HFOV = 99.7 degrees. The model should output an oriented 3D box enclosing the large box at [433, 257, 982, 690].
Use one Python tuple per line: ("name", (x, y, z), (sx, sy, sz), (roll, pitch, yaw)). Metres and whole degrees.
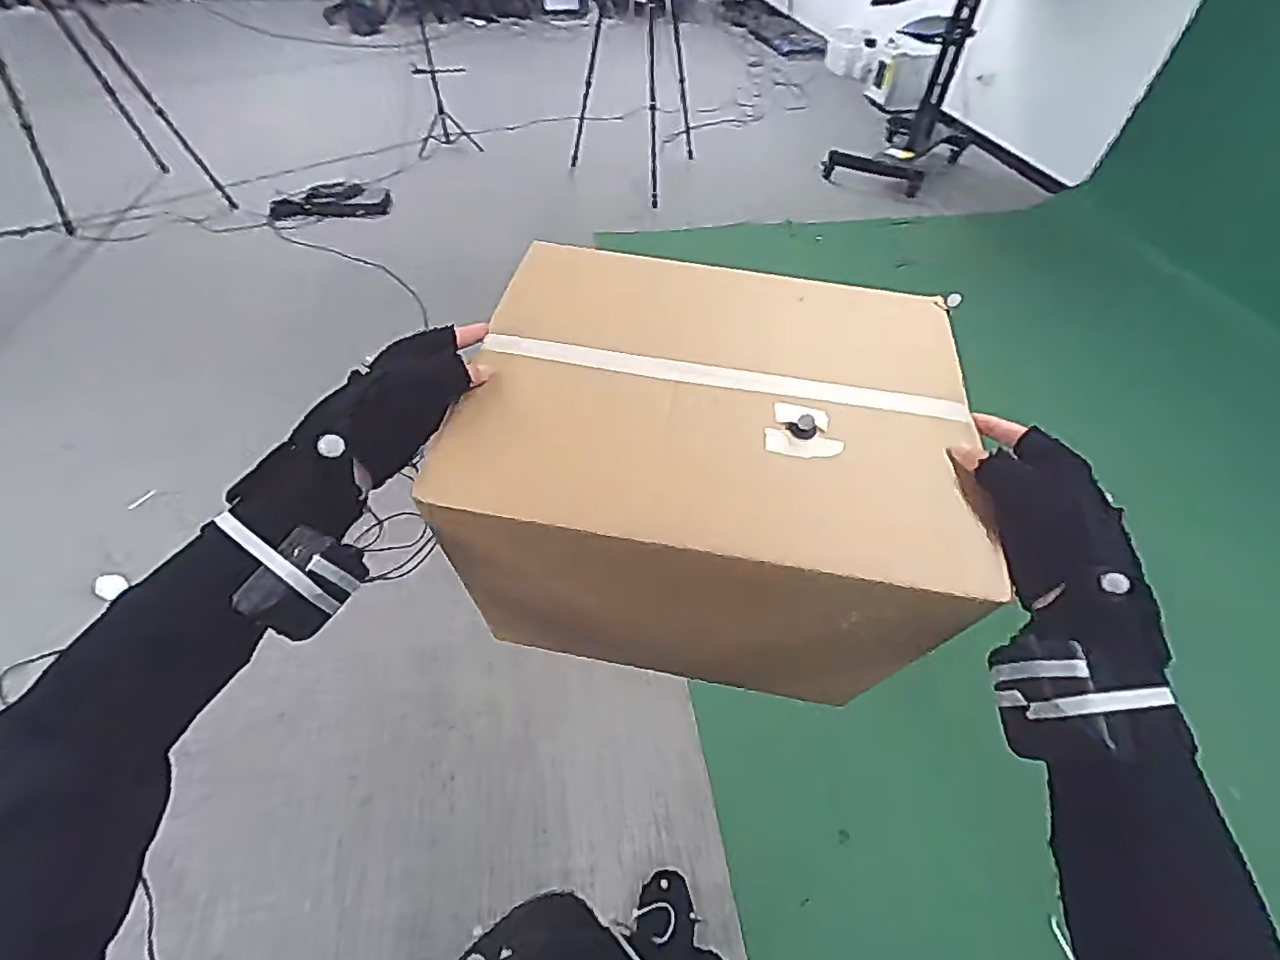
("large box", (0.056, 0.005, 0.587), (0.408, 0.320, 0.320), (10, 56, 3))
